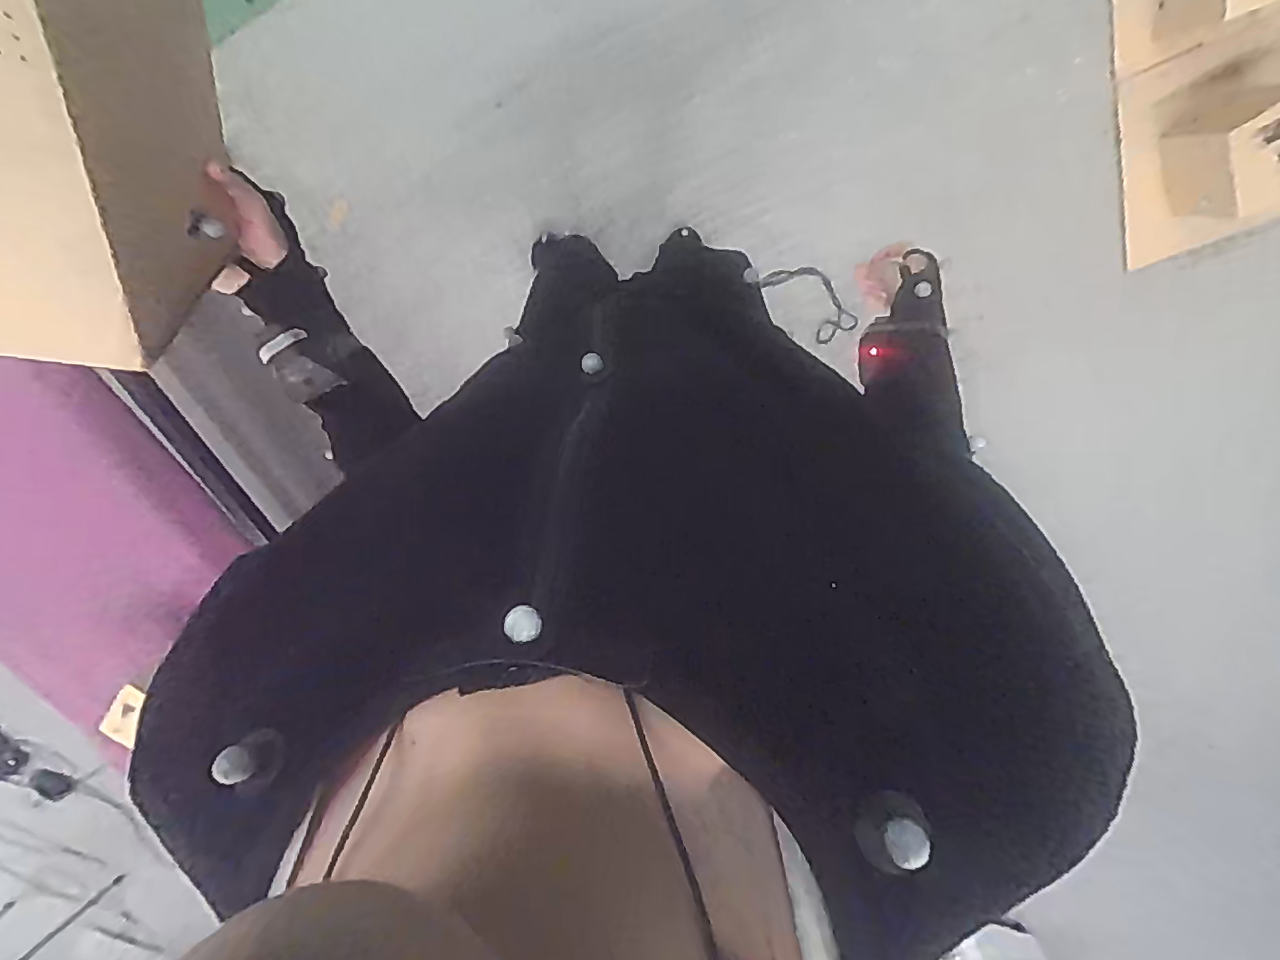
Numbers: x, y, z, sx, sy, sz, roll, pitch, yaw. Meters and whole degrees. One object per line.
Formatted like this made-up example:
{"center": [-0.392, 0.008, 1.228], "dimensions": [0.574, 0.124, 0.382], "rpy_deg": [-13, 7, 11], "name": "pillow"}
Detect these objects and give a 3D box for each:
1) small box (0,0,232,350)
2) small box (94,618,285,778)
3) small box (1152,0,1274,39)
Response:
{"center": [-0.321, -0.191, 0.254], "dimensions": [0.168, 0.179, 0.176], "rpy_deg": [4, 133, -23], "name": "small box"}
{"center": [-0.779, 0.378, 0.954], "dimensions": [0.179, 0.176, 0.168], "rpy_deg": [40, 113, -15], "name": "small box"}
{"center": [1.057, -0.917, 0.947], "dimensions": [0.179, 0.176, 0.168], "rpy_deg": [-15, 116, 11], "name": "small box"}
